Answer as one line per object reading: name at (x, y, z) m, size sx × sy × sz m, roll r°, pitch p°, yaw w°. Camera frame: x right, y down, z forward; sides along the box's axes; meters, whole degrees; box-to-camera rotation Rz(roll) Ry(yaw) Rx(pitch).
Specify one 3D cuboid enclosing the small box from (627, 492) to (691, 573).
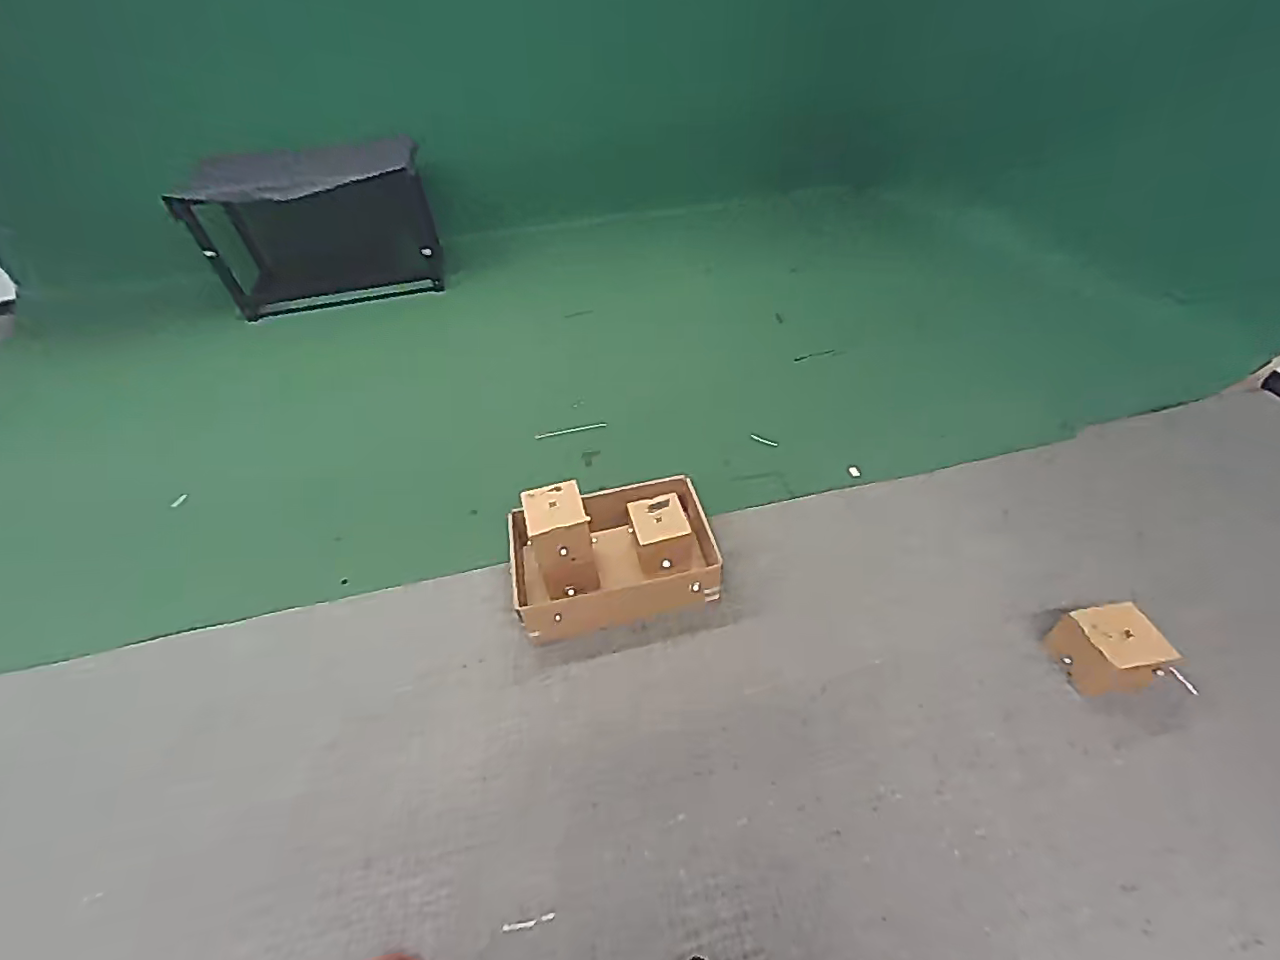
small box at (0.058, 0.170, 1.734) m, size 0.168 × 0.176 × 0.179 m, roll -13°, pitch 48°, yaw -7°

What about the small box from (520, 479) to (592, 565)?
small box at (-0.242, 0.129, 1.570) m, size 0.168 × 0.176 × 0.179 m, roll -14°, pitch 47°, yaw -8°

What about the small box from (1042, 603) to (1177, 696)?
small box at (1.224, 0.448, 1.427) m, size 0.179 × 0.176 × 0.168 m, roll -8°, pitch 44°, yaw -3°
